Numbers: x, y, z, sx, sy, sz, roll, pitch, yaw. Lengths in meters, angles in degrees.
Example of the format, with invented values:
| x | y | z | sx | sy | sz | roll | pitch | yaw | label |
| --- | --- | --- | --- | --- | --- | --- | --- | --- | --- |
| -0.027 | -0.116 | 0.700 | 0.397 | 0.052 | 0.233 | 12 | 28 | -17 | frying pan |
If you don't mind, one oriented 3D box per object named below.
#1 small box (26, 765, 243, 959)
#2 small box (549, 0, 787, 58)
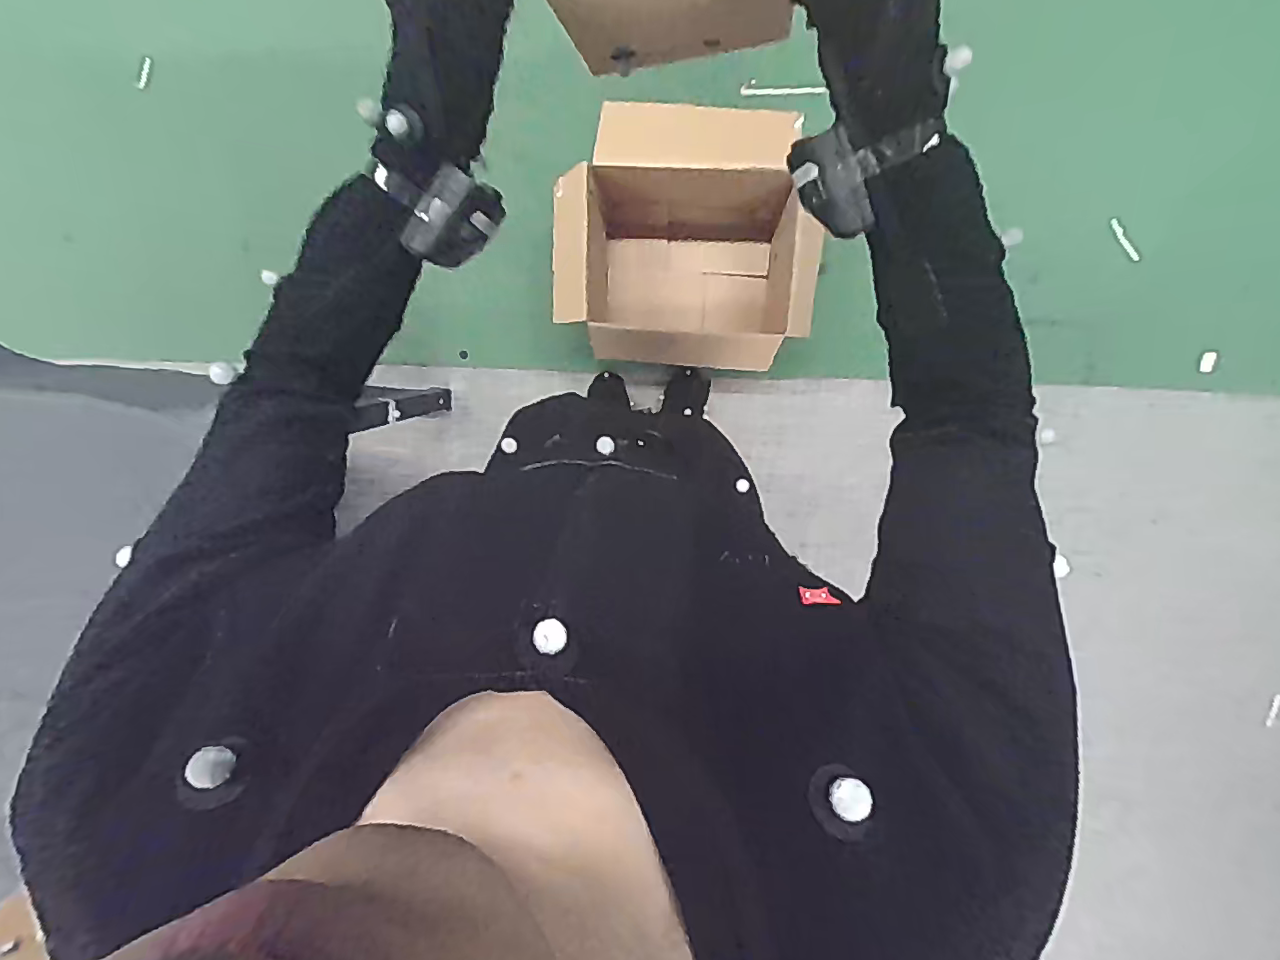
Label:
| x | y | z | sx | sy | sz | roll | pitch | yaw | label |
| --- | --- | --- | --- | --- | --- | --- | --- | --- | --- |
| -0.758 | 0.572 | 0.830 | 0.179 | 0.176 | 0.168 | 8 | 104 | 2 | small box |
| 0.014 | -0.407 | 0.343 | 0.168 | 0.176 | 0.179 | -2 | 105 | 11 | small box |
